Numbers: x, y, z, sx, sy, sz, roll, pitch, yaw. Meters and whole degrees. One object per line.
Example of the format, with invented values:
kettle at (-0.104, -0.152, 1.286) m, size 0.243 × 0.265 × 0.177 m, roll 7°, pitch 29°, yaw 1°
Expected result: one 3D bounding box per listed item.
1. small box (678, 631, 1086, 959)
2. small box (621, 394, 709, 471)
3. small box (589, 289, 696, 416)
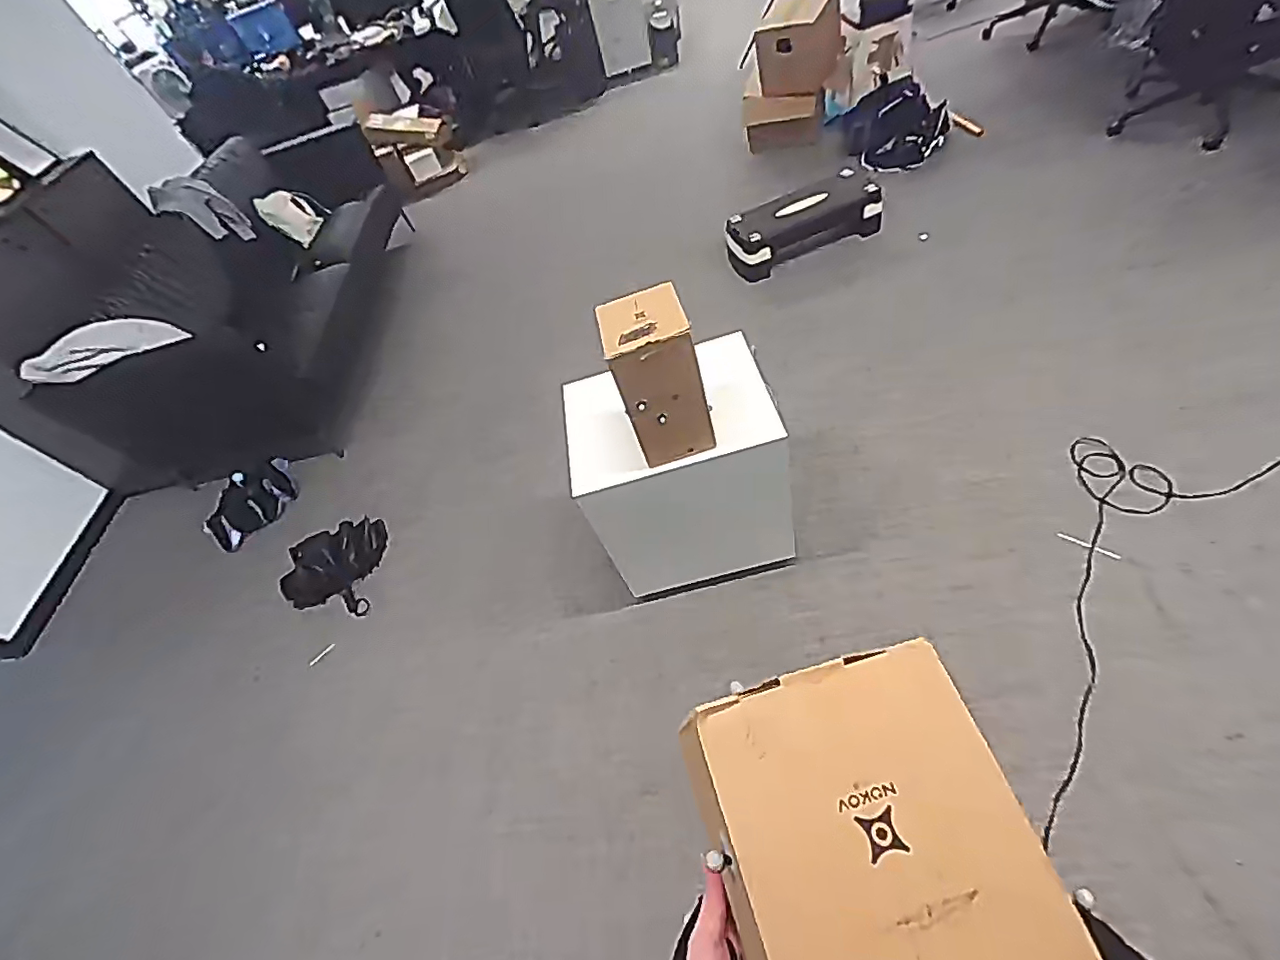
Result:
small box at (0.130, 0.230, 0.377) m, size 0.168 × 0.176 × 0.179 m, roll -14°, pitch 62°, yaw -8°
small box at (0.048, -0.150, 1.231) m, size 0.168 × 0.176 × 0.179 m, roll -19°, pitch 48°, yaw 4°
small box at (0.007, -0.251, 1.106) m, size 0.168 × 0.176 × 0.179 m, roll -18°, pitch 48°, yaw 4°
